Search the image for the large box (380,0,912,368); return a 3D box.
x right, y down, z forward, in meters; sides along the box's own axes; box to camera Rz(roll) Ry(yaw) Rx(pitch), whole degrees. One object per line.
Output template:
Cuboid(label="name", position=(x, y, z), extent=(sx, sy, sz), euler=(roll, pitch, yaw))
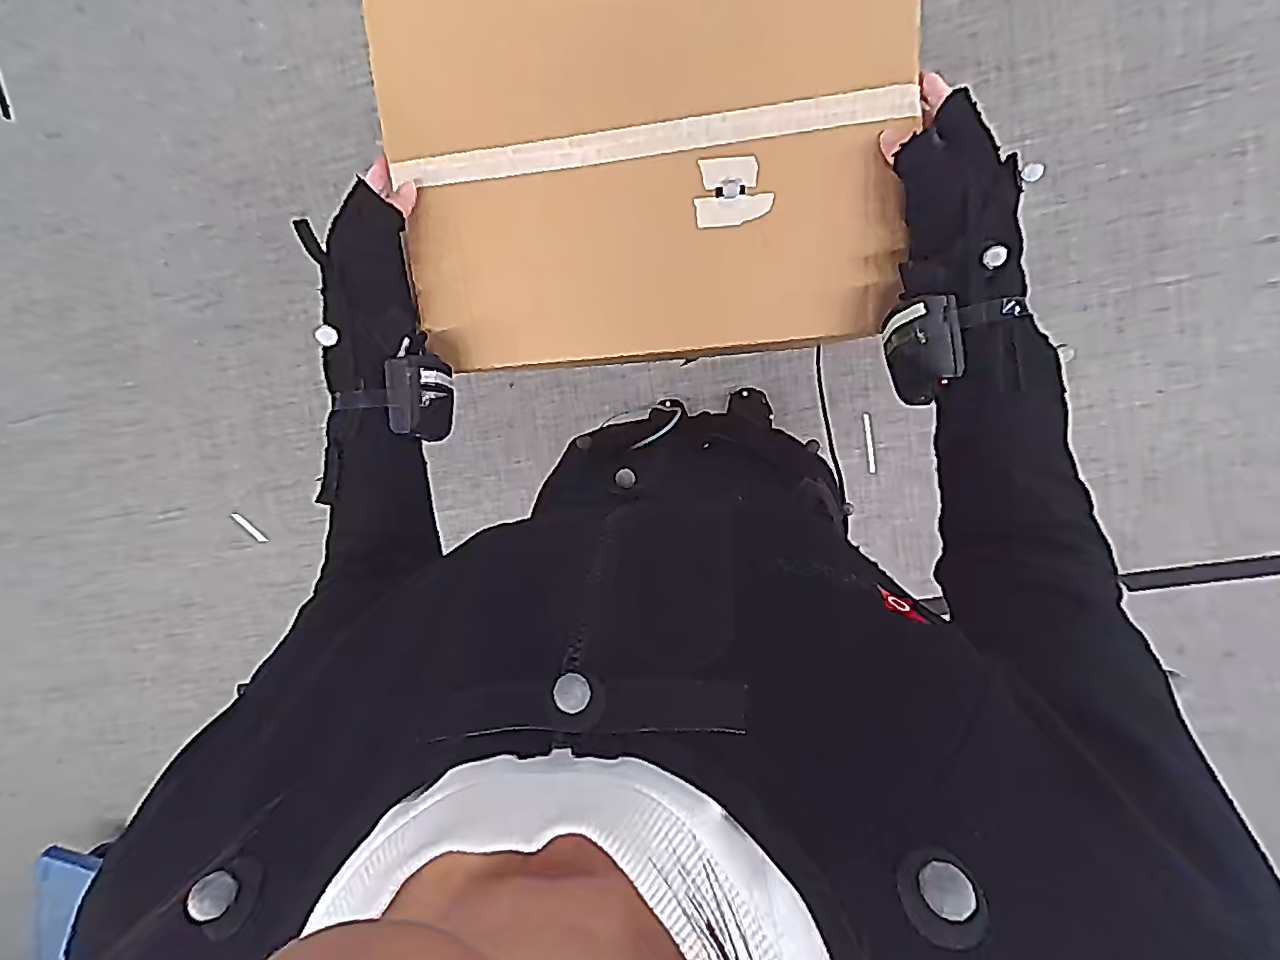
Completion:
Cuboid(label="large box", position=(0.017, -0.297, 0.570), extent=(0.408, 0.320, 0.320), euler=(-4, 102, 6))
